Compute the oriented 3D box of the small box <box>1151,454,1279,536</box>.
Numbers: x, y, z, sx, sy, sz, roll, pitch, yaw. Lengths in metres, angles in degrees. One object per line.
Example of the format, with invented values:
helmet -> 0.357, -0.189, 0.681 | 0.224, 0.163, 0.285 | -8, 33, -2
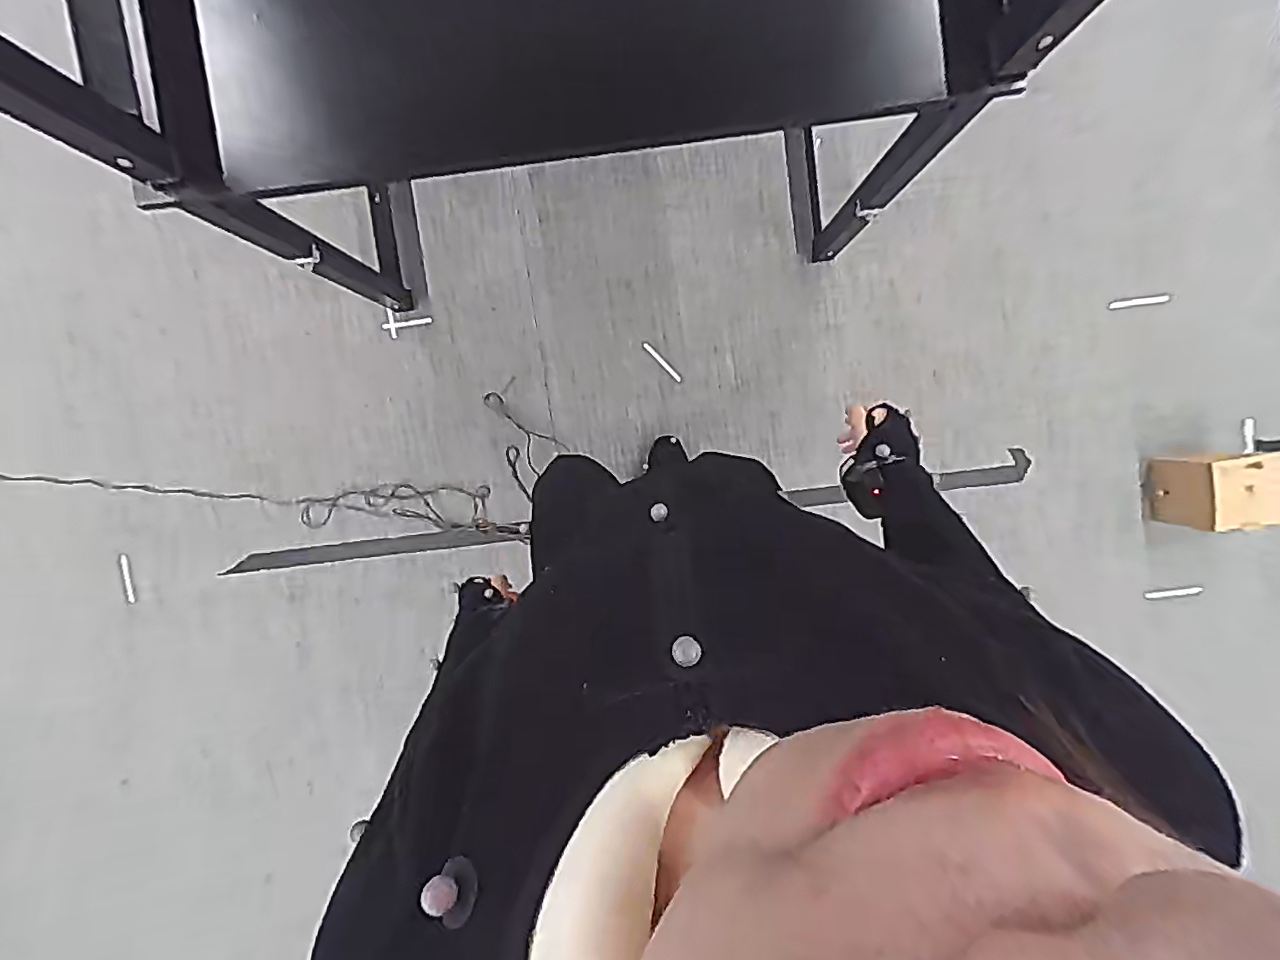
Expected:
small box -> 1.461, 0.034, 1.380 | 0.168, 0.176, 0.179 | -7, 96, 2
